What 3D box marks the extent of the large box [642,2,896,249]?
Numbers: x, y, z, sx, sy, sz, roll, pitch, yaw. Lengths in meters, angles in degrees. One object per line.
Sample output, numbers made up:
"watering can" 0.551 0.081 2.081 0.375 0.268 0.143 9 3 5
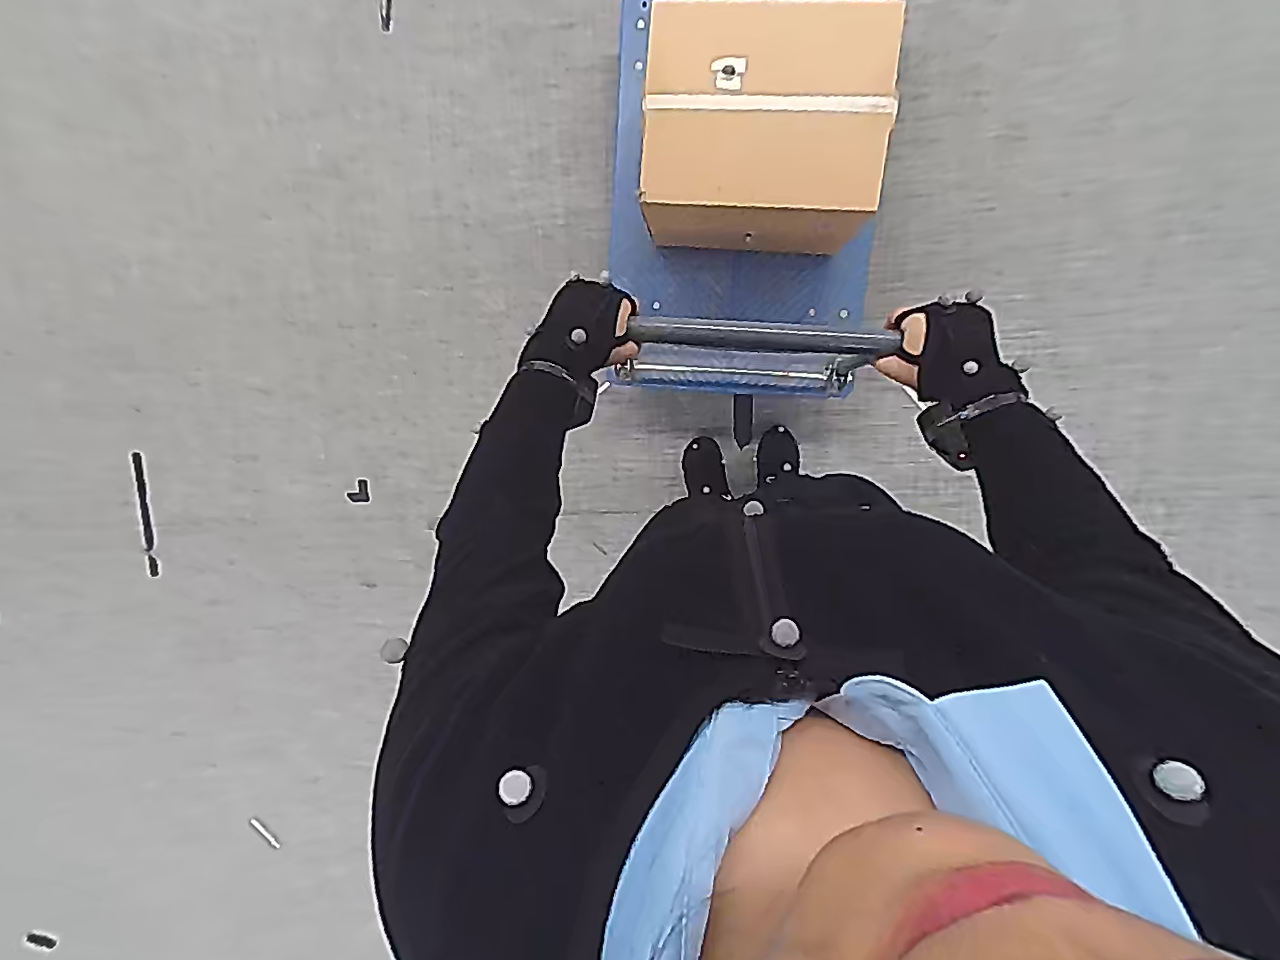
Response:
"large box" 0.228 -0.649 1.054 0.408 0.320 0.320 5 99 7
